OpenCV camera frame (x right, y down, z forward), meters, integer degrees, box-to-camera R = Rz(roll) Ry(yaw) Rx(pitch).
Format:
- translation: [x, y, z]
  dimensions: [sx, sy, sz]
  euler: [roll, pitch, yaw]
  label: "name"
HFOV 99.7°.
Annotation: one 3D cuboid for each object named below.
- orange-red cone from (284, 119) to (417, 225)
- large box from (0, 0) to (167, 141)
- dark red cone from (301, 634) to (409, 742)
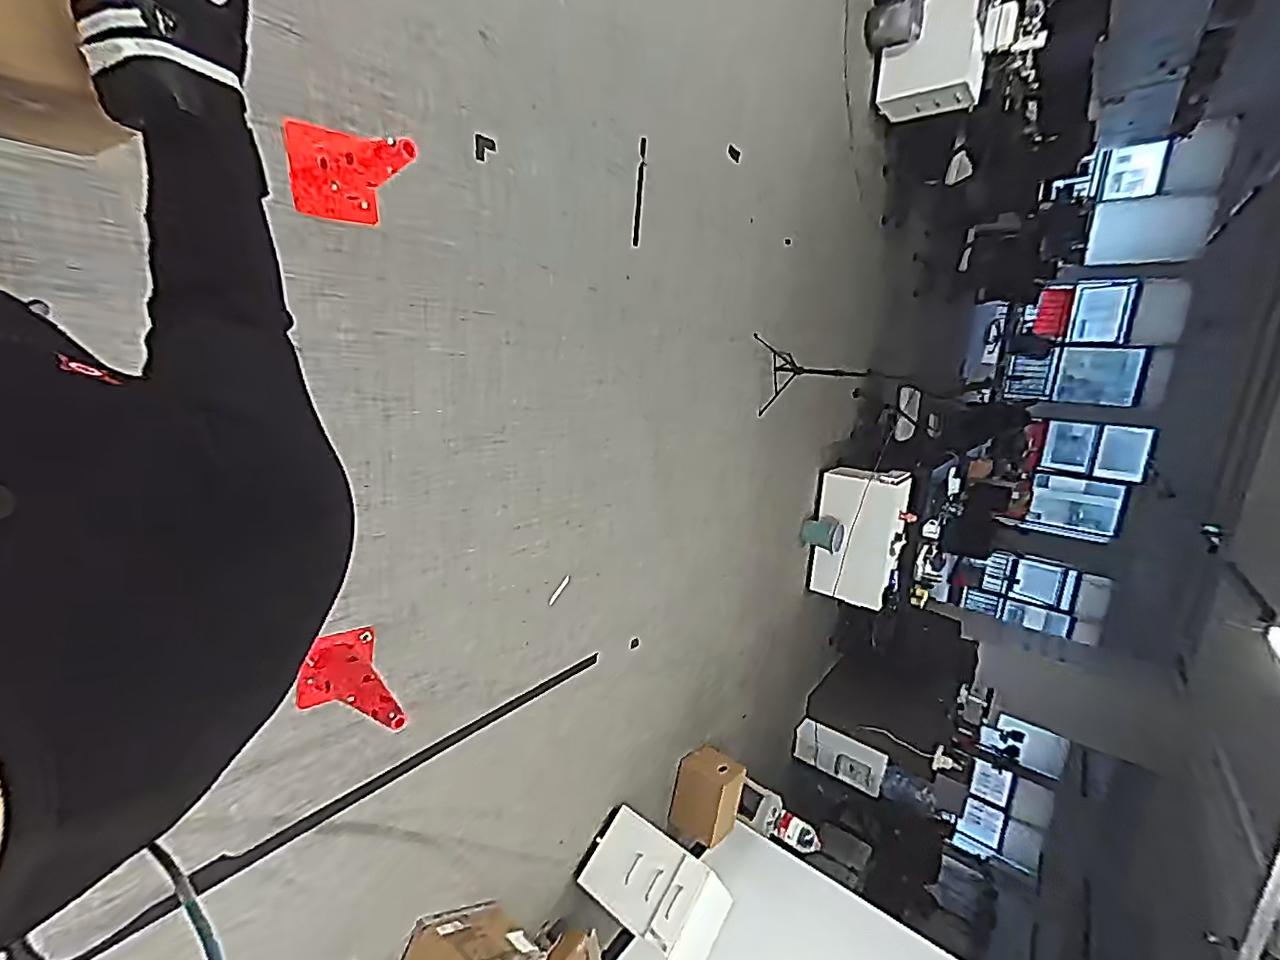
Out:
- translation: [-0.609, -0.709, 1.203]
  dimensions: [0.198, 0.360, 0.199]
  euler: [-16, 111, -50]
  label: "orange-red cone"
- translation: [-0.574, -0.428, 0.291]
  dimensions: [0.408, 0.320, 0.320]
  euler: [-14, 117, -51]
  label: "large box"
- translation: [-0.715, 0.570, 1.415]
  dimensions: [0.201, 0.394, 0.202]
  euler: [-3, 102, -51]
  label: "dark red cone"
